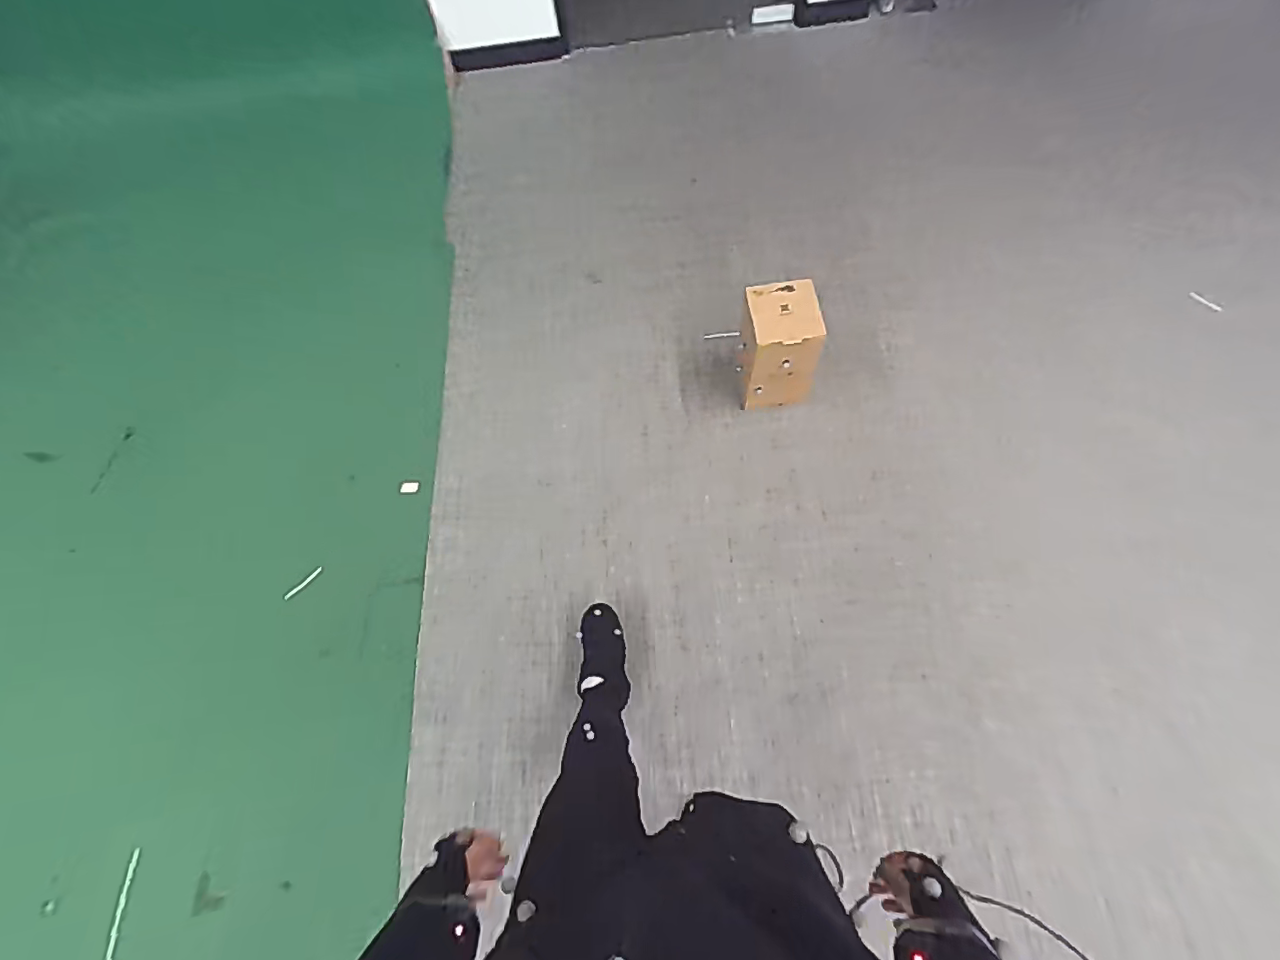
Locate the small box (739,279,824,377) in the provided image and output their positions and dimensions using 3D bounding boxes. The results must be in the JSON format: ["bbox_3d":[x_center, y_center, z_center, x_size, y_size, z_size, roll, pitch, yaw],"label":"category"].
[{"bbox_3d":[0.350,-0.374,1.366,0.168,0.176,0.179,-7,69,2],"label":"small box"}]
